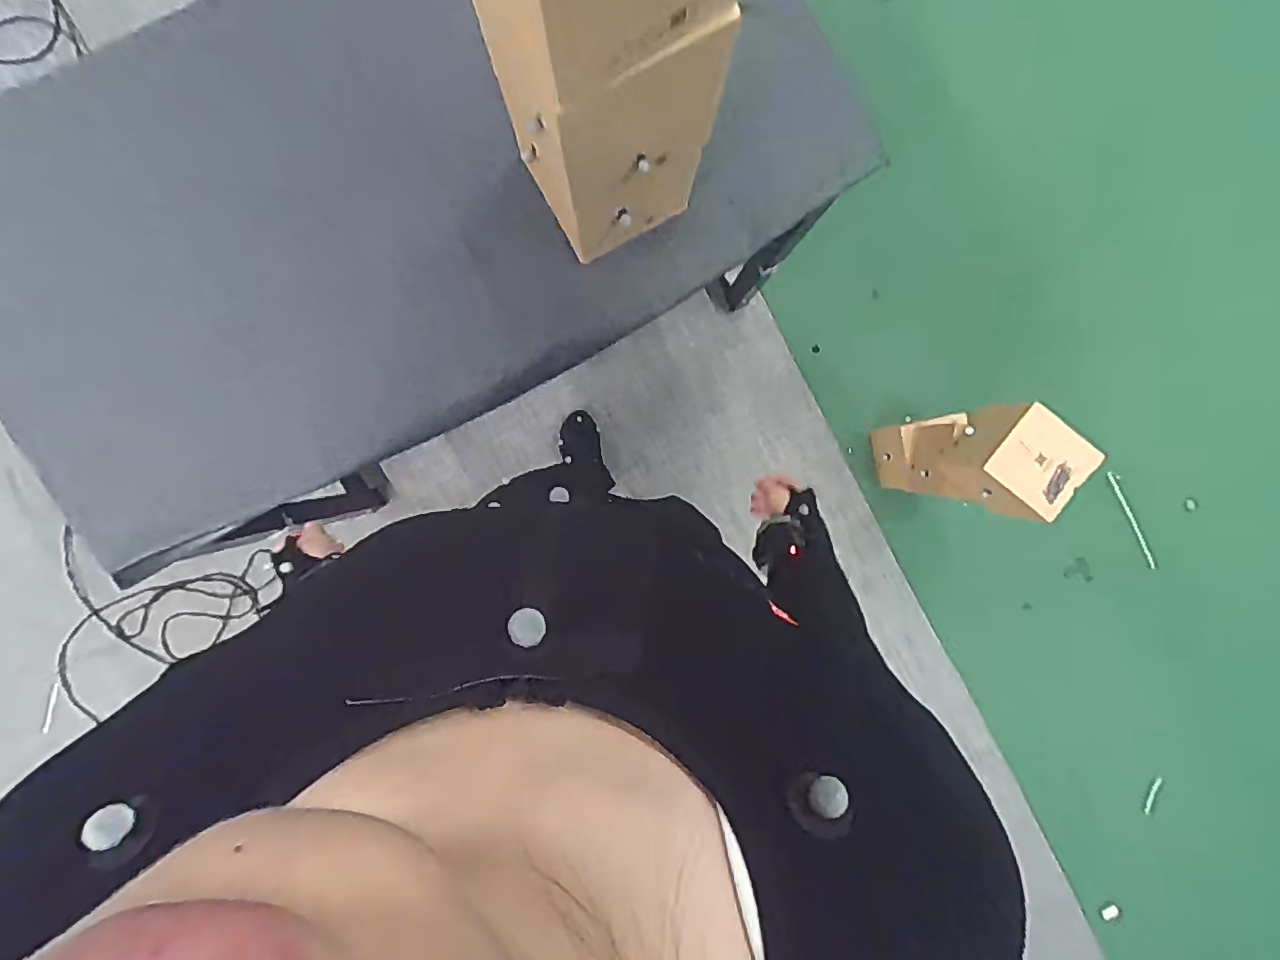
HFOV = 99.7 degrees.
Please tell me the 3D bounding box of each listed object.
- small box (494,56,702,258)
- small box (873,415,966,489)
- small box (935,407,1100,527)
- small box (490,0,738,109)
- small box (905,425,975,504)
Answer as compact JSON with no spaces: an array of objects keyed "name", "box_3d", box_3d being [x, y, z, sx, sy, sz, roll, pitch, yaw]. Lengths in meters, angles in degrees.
[{"name":"small box","box_3d":[-0.044,-0.393,0.649,0.168,0.176,0.179,-29,92,-1]},{"name":"small box","box_3d":[0.738,-0.070,1.429,0.179,0.176,0.168,-13,94,-2]},{"name":"small box","box_3d":[0.758,-0.031,1.104,0.179,0.176,0.168,38,92,-3]},{"name":"small box","box_3d":[-0.034,-0.381,0.320,0.168,0.176,0.179,-32,92,0]},{"name":"small box","box_3d":[0.755,-0.032,1.269,0.179,0.176,0.168,8,94,-4]}]
